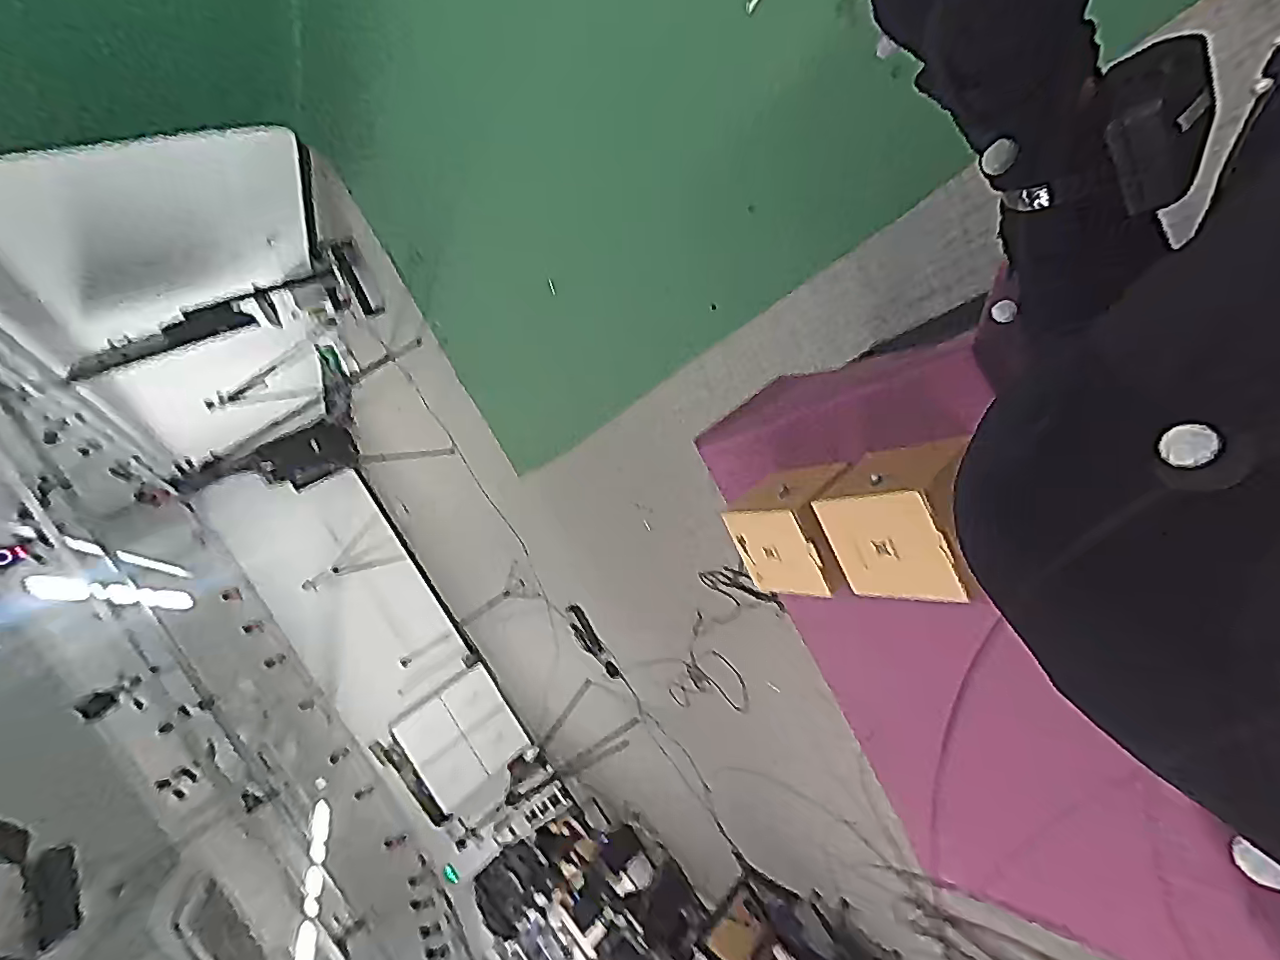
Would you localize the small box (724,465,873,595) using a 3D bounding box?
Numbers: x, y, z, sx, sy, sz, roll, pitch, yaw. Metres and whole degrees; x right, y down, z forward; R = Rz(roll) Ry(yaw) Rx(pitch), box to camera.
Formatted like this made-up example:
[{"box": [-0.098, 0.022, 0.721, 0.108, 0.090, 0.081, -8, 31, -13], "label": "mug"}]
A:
[{"box": [0.290, 0.085, 0.968, 0.179, 0.176, 0.168, -10, 110, 56], "label": "small box"}]
